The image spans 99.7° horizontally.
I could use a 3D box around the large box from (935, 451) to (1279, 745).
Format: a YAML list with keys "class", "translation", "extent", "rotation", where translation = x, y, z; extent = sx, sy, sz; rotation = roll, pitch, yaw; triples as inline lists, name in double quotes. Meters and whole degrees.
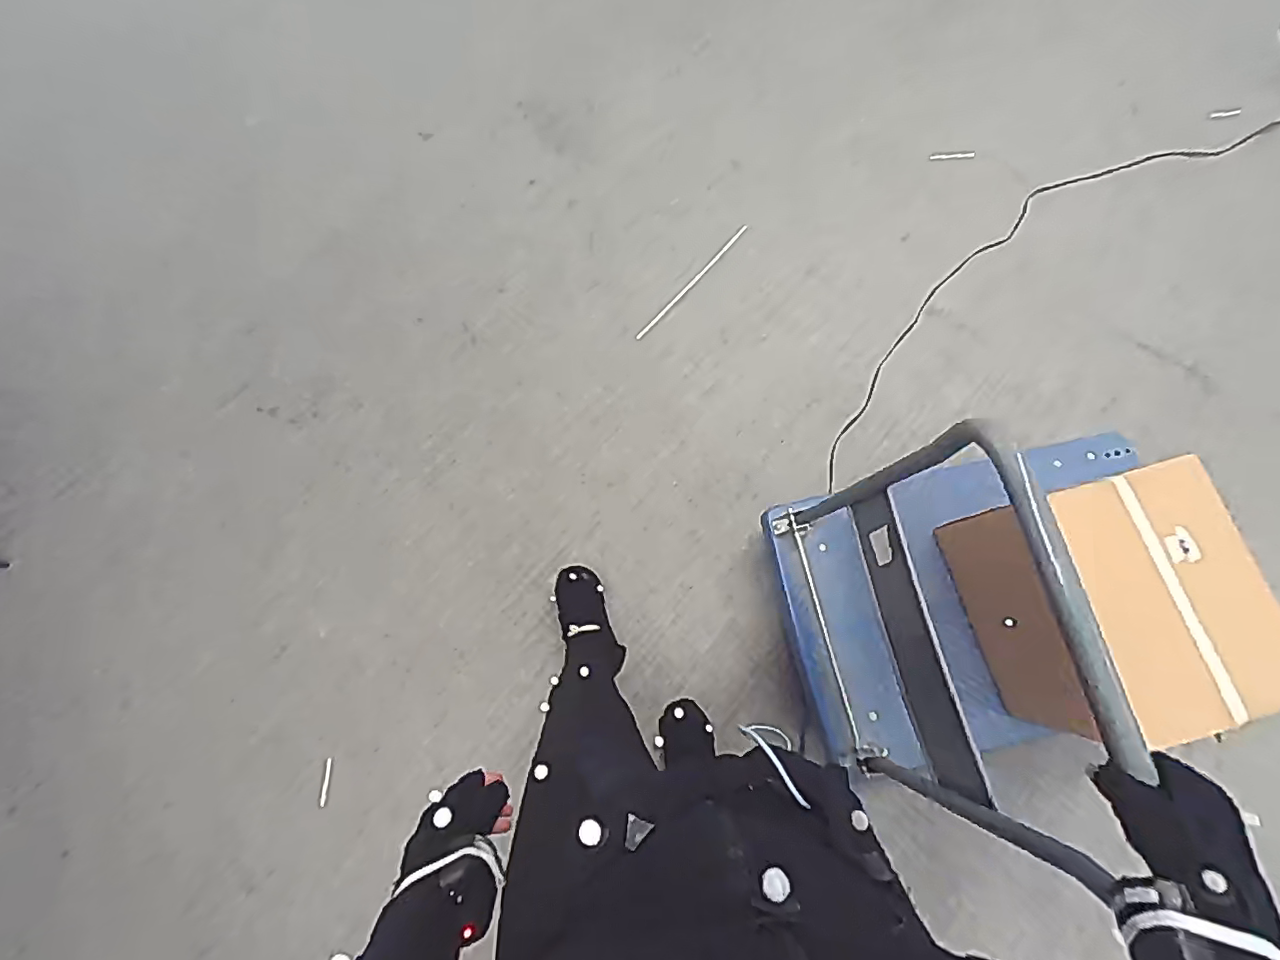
- class: "large box"
  translation: [0.839, 0.212, 1.006]
  extent: [0.320, 0.320, 0.408]
  rotation: [-15, 76, -4]
